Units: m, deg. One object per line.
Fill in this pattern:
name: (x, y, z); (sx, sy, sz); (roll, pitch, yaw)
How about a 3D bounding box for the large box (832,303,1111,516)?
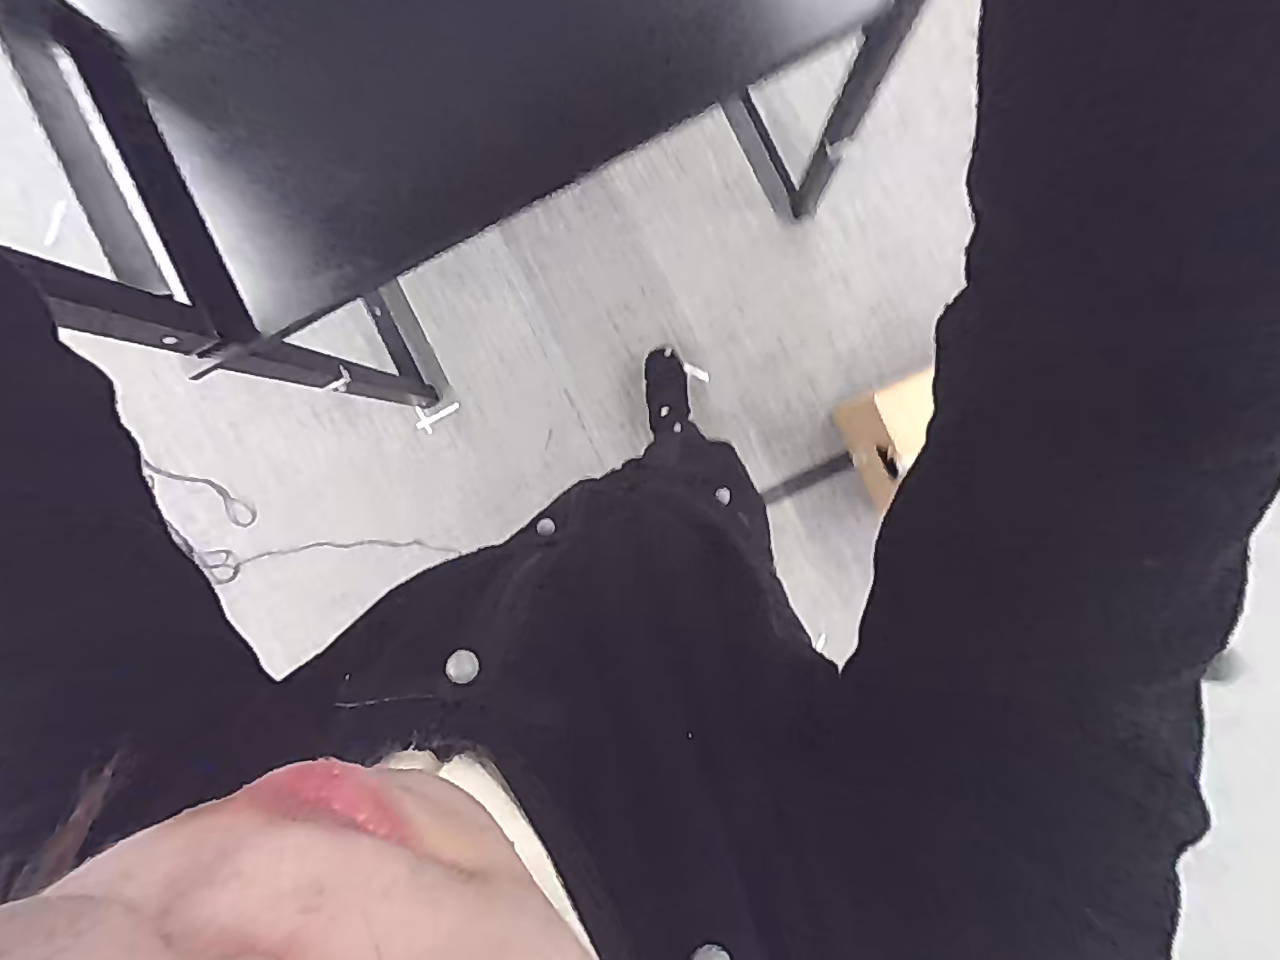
large box: (0.739, -0.148, 1.273); (0.408, 0.320, 0.320); (-25, 92, 4)
